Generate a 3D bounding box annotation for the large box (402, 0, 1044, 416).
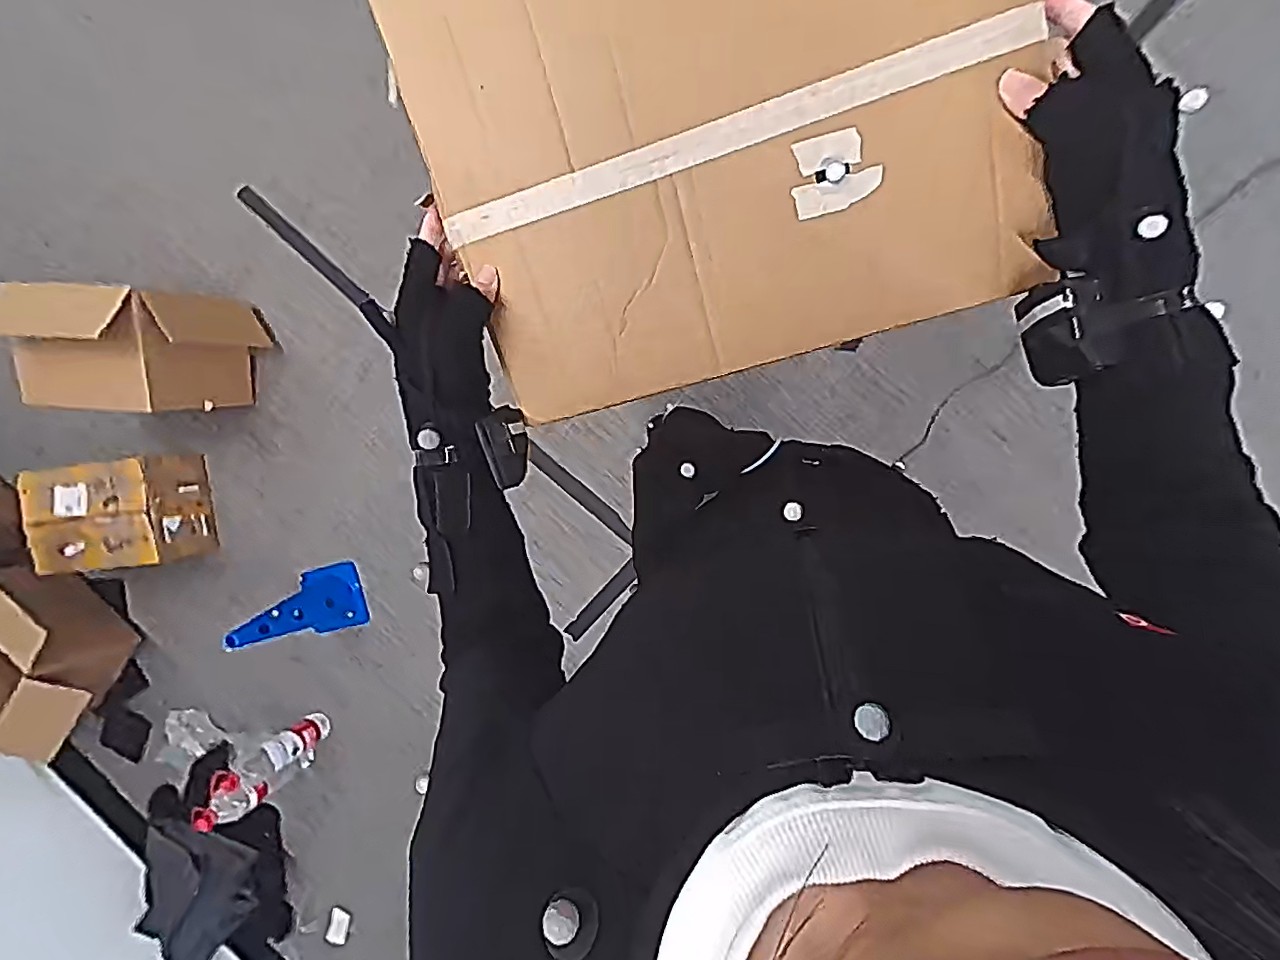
[{"bbox_3d":[0.074,-0.285,0.523,0.408,0.320,0.320,-13,107,10],"label":"large box"}]
